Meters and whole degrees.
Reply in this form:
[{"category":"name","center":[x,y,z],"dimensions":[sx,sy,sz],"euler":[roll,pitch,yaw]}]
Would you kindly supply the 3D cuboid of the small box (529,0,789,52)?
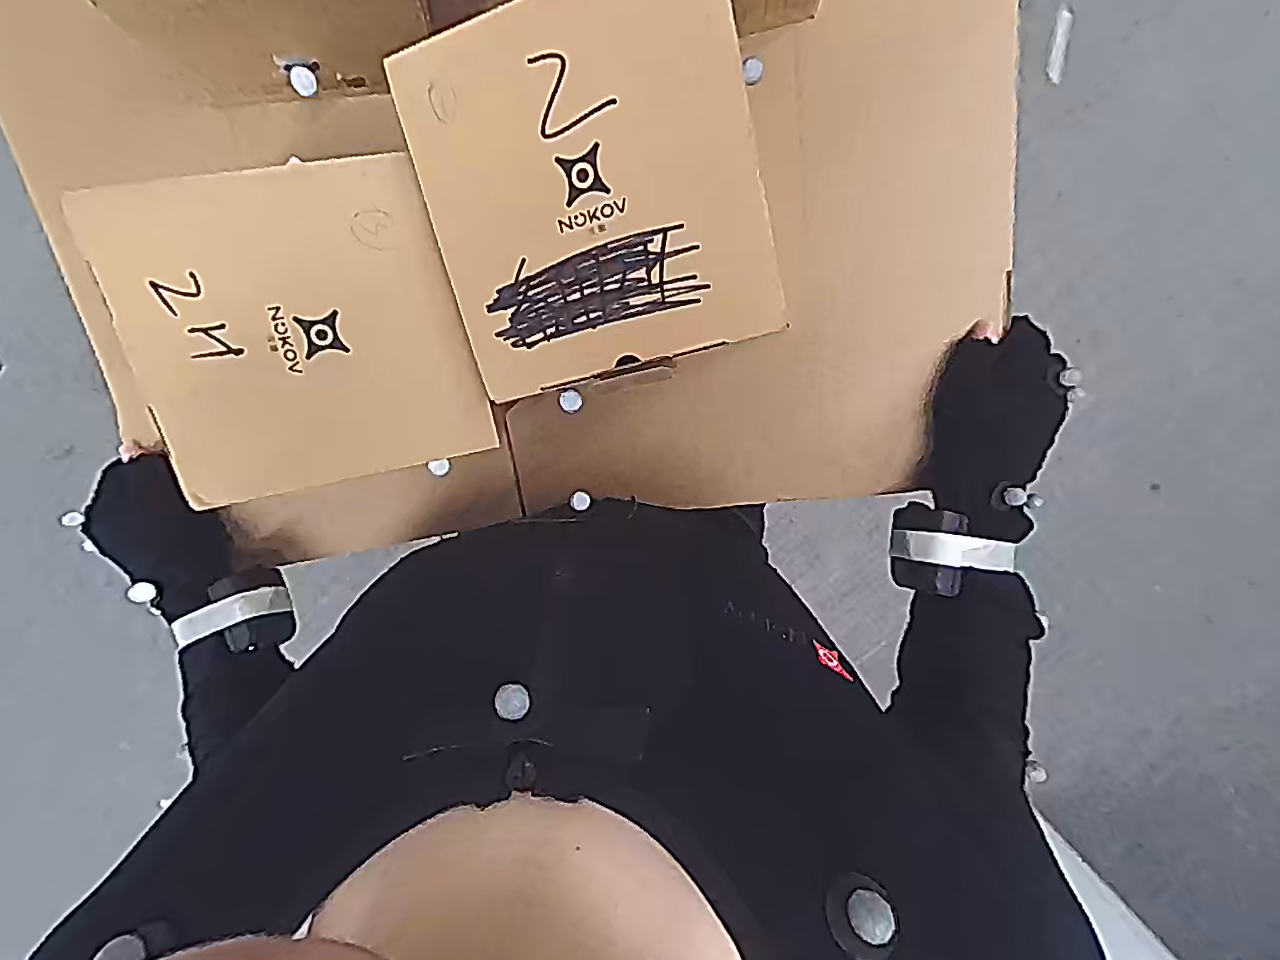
[{"category":"small box","center":[0.001,-0.365,0.280],"dimensions":[0.168,0.176,0.179],"euler":[-6,104,13]}]
